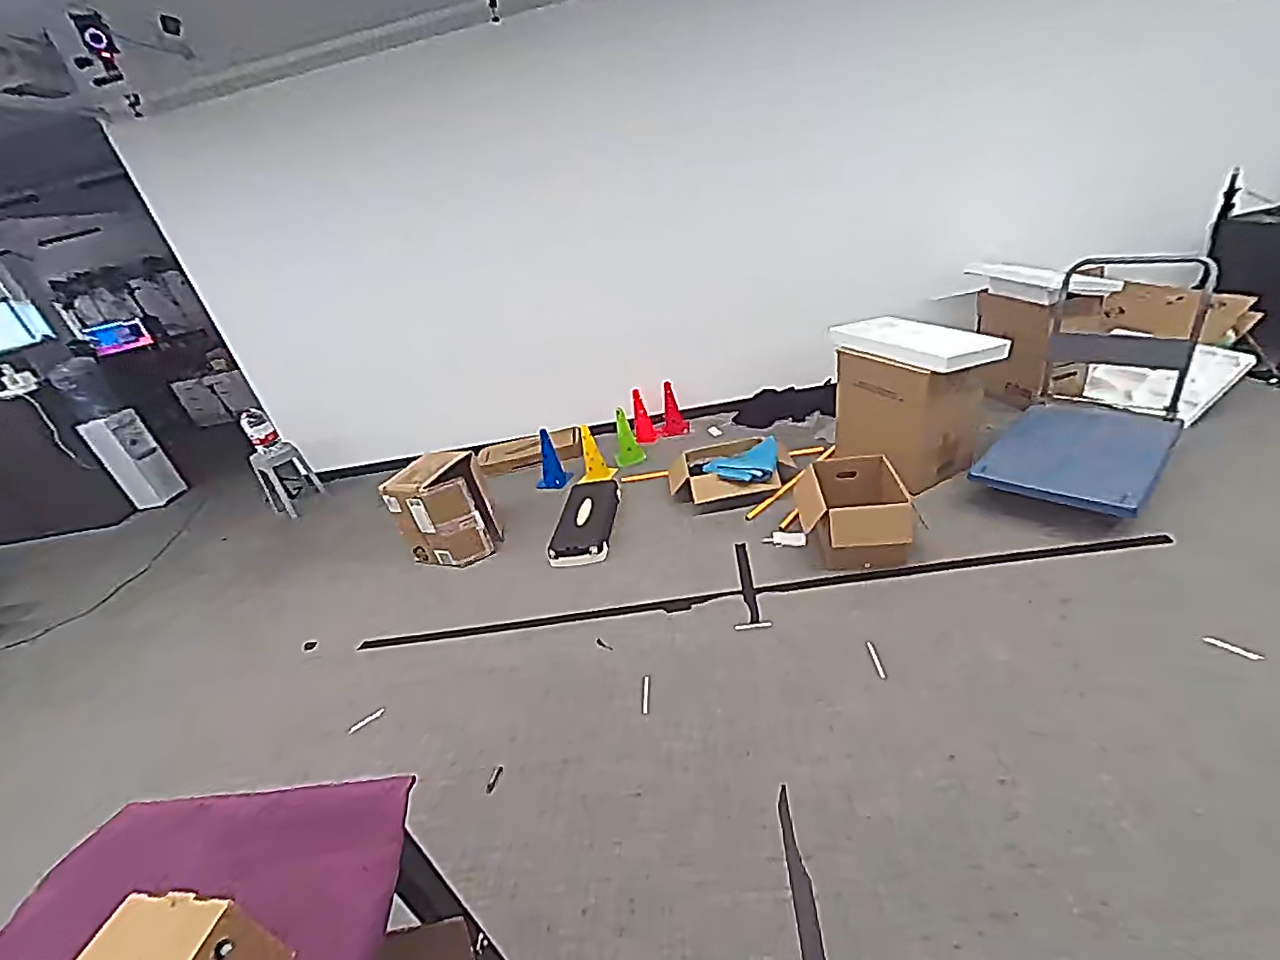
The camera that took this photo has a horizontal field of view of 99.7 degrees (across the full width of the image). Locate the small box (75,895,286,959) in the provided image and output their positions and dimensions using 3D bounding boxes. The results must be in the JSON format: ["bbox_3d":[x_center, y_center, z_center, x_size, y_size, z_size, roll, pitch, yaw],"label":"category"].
[{"bbox_3d":[-0.583,0.645,0.654,0.168,0.176,0.179,-7,29,12],"label":"small box"}]
